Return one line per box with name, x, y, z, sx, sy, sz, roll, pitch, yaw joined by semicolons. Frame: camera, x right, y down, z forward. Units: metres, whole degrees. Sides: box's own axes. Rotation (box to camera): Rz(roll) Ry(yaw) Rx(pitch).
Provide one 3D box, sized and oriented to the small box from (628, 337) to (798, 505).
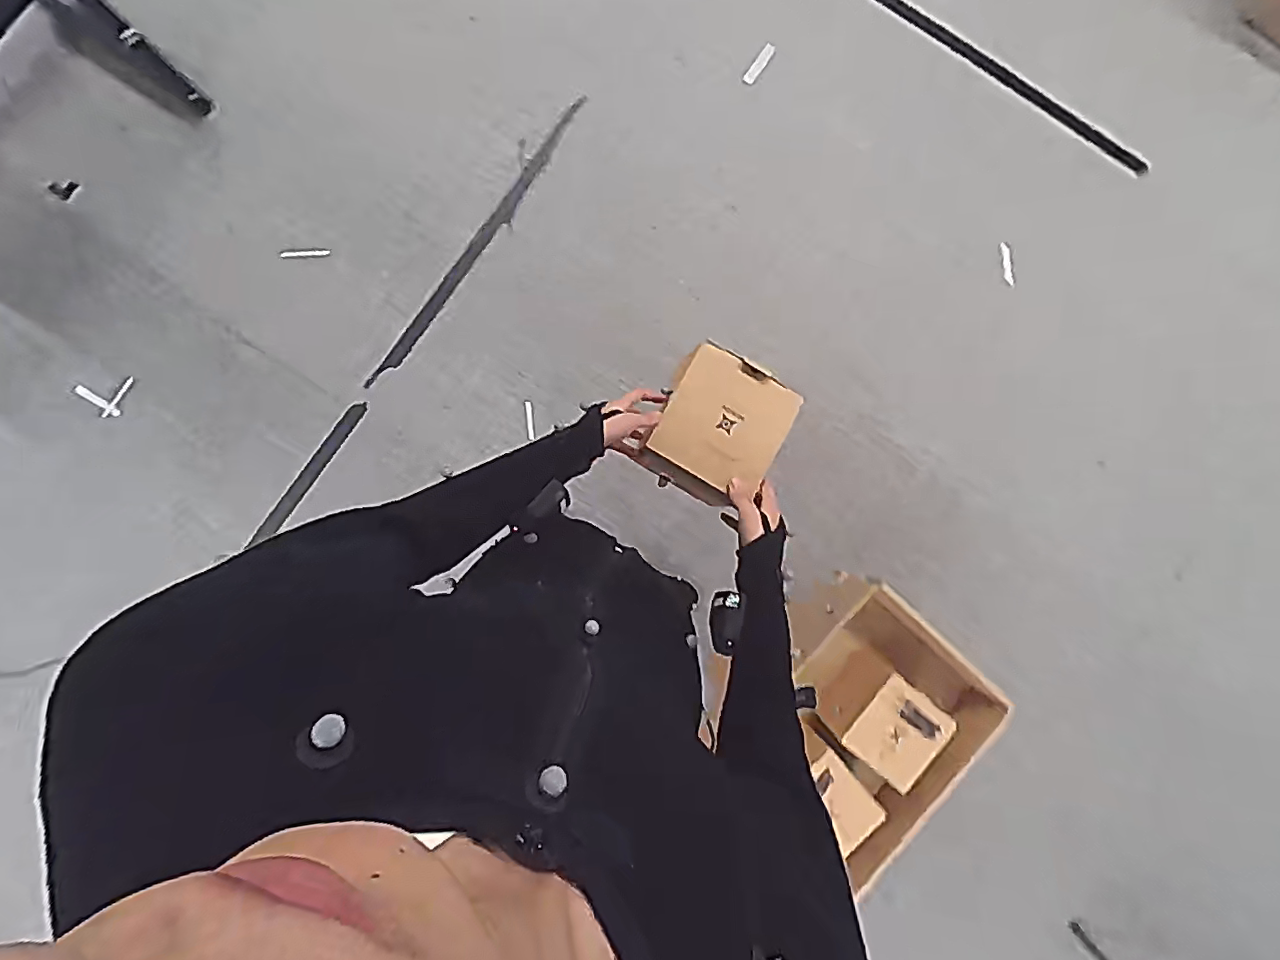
small box;0.096;-0.075;0.805;0.168;0.176;0.179;30;82;-8
